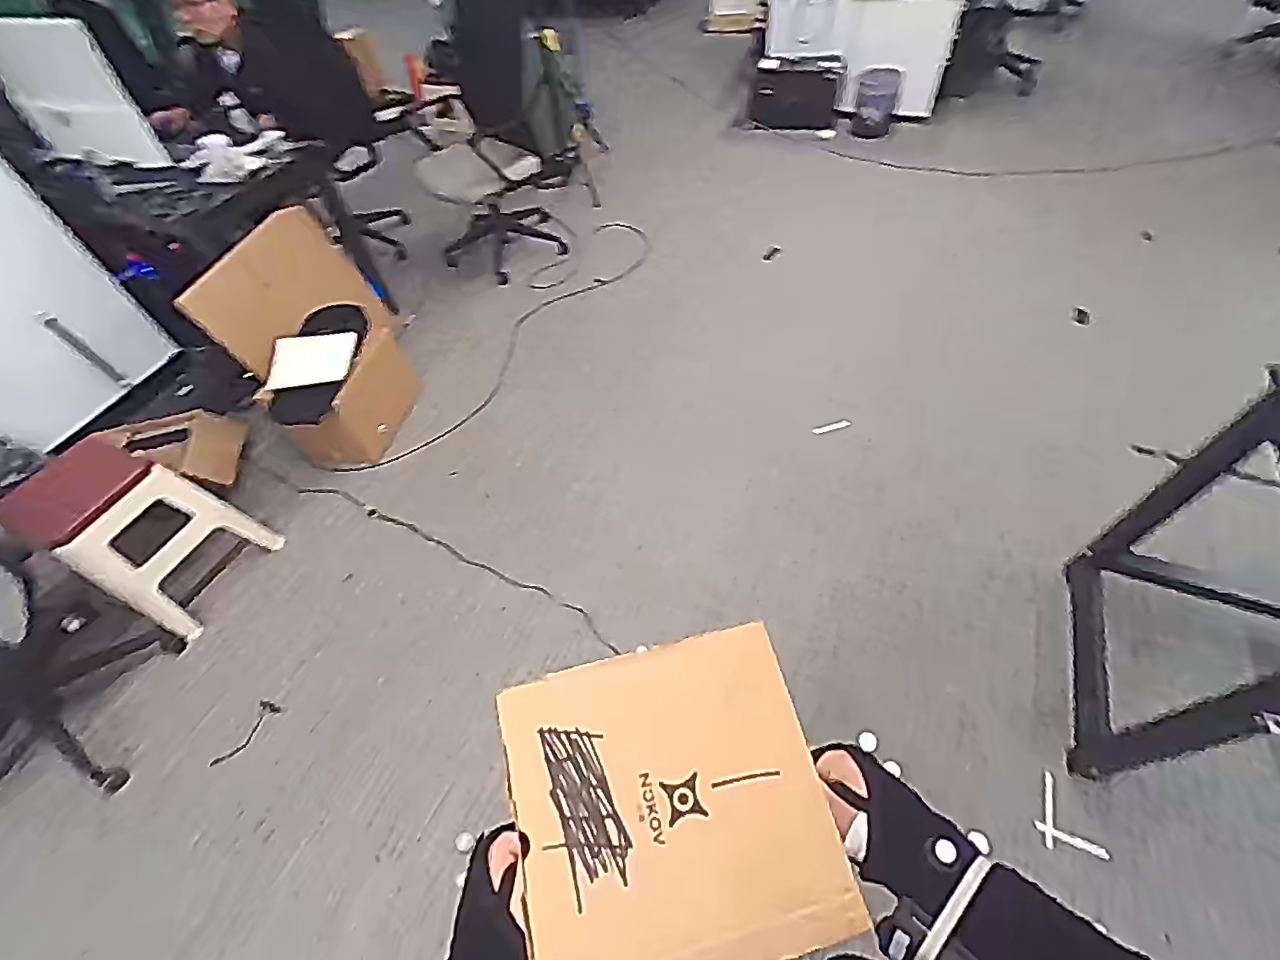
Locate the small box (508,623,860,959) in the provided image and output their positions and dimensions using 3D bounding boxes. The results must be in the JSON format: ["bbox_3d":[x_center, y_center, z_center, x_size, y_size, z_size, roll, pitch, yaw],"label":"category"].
[{"bbox_3d":[0.019,0.218,0.388,0.179,0.176,0.168,-13,65,-6],"label":"small box"}]
